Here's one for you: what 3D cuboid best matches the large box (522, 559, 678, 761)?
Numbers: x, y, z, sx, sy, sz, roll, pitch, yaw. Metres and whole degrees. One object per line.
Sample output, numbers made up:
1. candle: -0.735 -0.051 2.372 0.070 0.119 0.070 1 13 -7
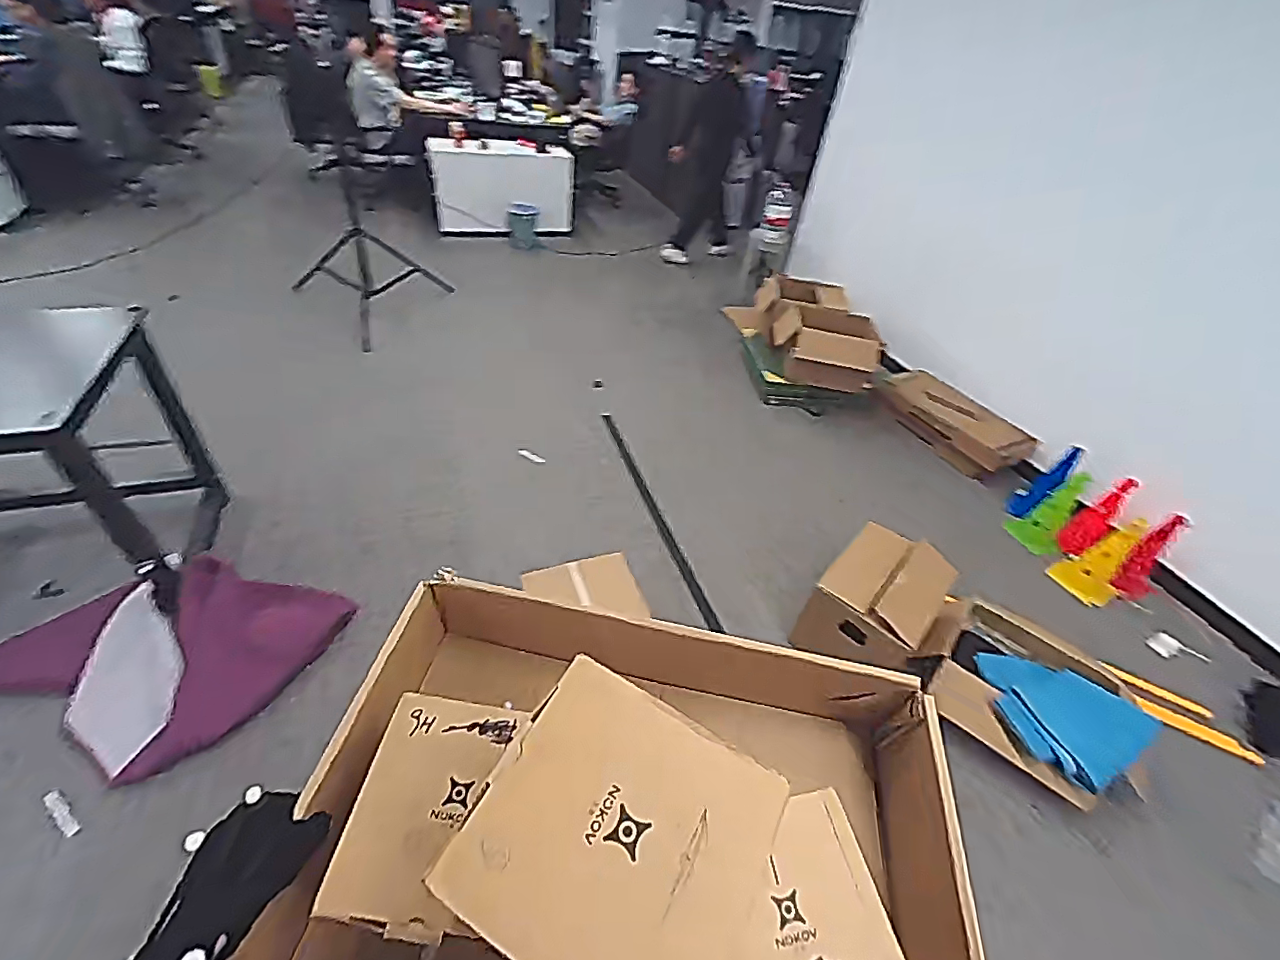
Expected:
1. large box: -0.138 0.498 1.543 0.320 0.320 0.408 -11 45 -21
